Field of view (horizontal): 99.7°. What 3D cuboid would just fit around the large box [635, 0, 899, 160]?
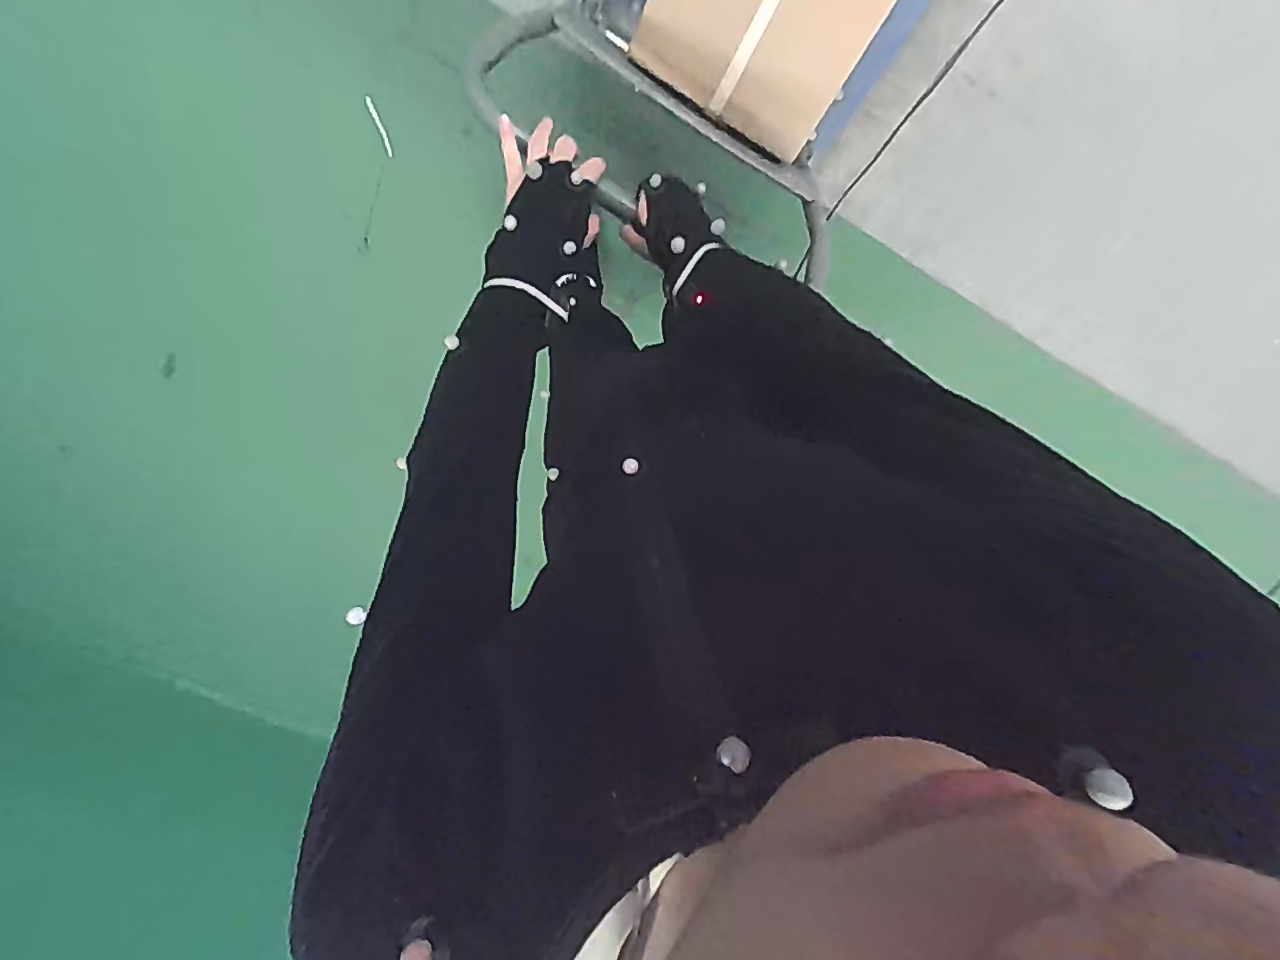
[{"bbox_3d":[0.231,-0.805,0.852,0.320,0.320,0.408,26,128,-13],"label":"large box"}]
